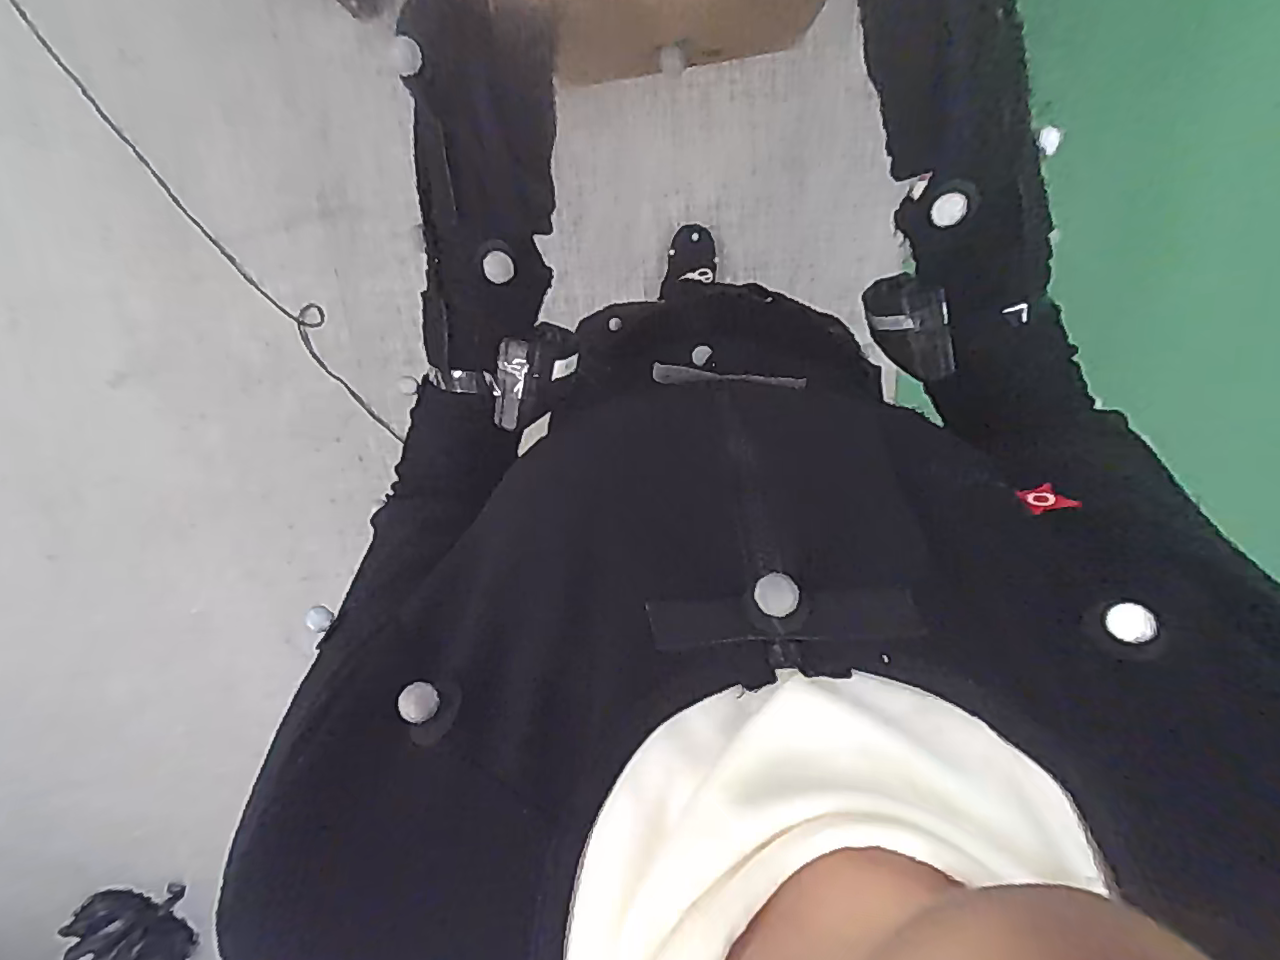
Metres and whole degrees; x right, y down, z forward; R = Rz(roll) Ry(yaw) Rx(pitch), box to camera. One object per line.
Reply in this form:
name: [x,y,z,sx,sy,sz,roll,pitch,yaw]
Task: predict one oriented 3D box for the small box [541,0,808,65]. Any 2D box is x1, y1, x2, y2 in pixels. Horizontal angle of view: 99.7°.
small box: [0.012,-0.344,0.259,0.168,0.176,0.179,-6,111,6]
